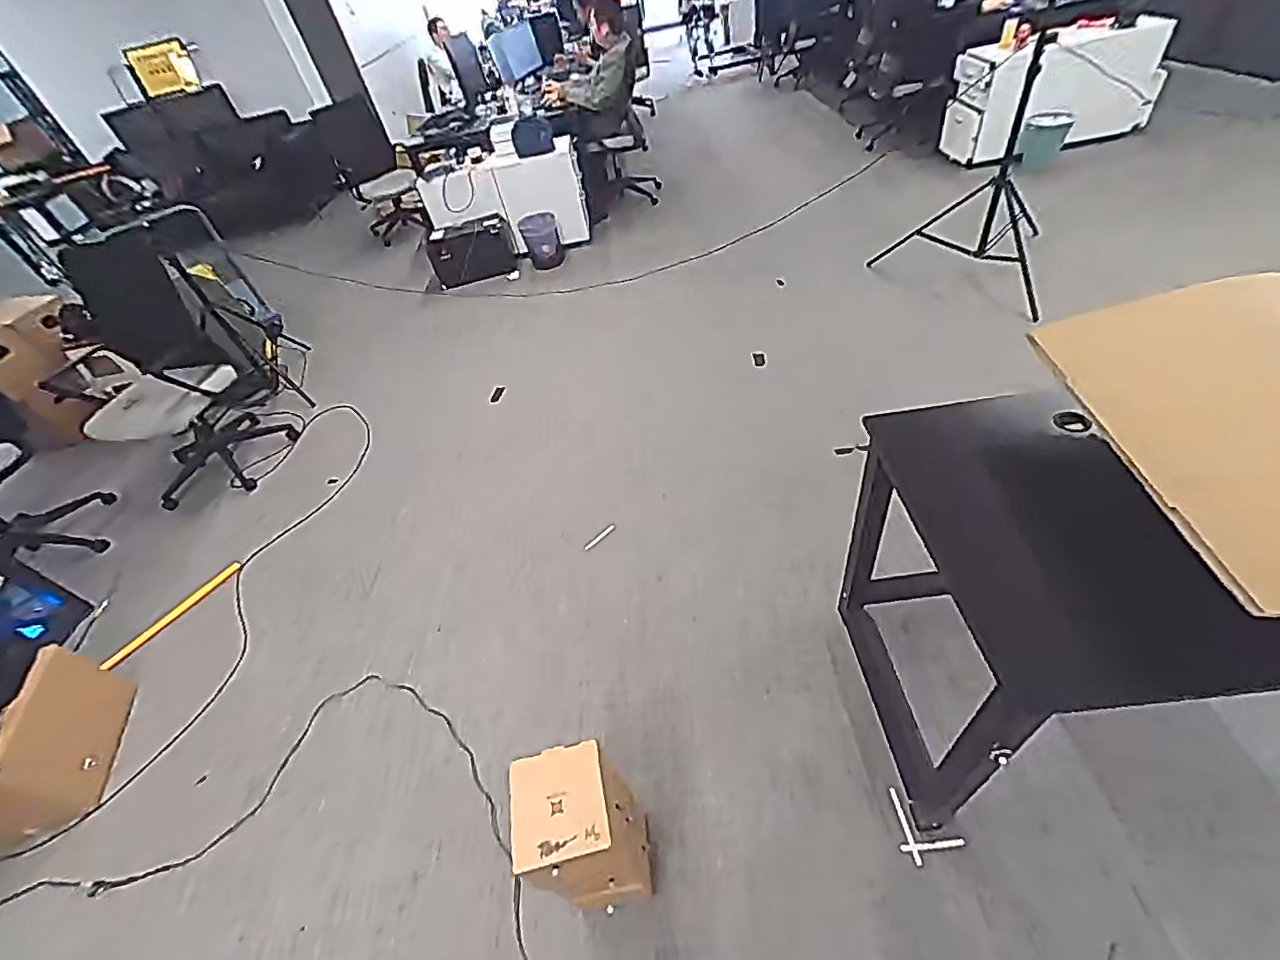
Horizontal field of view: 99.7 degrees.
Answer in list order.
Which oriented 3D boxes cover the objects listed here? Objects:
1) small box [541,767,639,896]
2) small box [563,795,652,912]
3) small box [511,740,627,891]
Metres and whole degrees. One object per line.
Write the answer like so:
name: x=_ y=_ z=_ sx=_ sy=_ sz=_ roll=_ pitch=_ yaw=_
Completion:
small box: x=-0.103 y=0.721 z=1.101 sx=0.168 sy=0.176 sz=0.179 roll=-13 pitch=43 yaw=-1
small box: x=-0.073 y=0.837 z=1.210 sx=0.168 sy=0.176 sz=0.179 roll=-12 pitch=45 yaw=2
small box: x=-0.129 y=0.609 z=0.983 sx=0.168 sy=0.176 sz=0.179 roll=-15 pitch=44 yaw=-2
